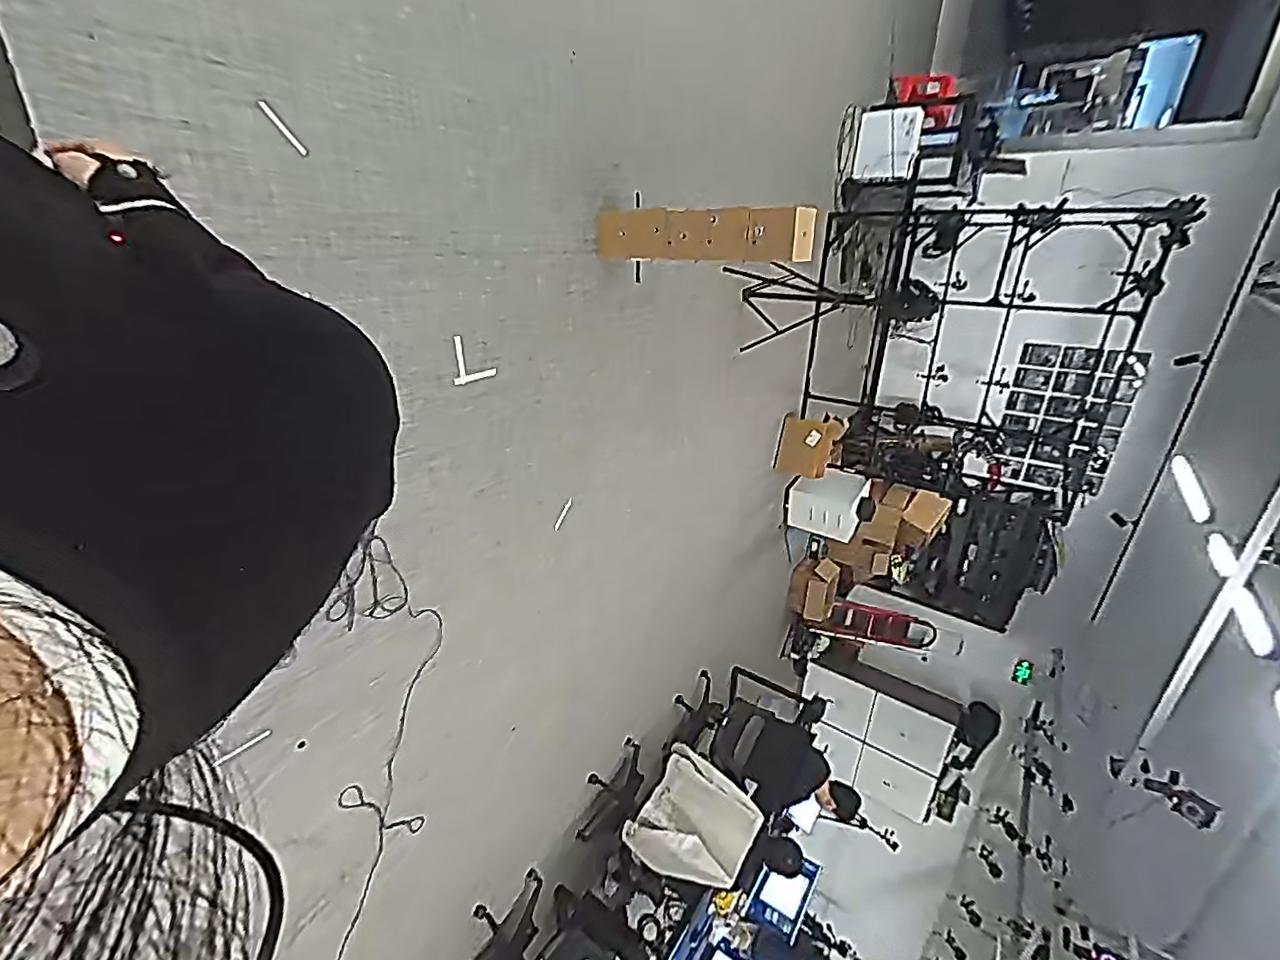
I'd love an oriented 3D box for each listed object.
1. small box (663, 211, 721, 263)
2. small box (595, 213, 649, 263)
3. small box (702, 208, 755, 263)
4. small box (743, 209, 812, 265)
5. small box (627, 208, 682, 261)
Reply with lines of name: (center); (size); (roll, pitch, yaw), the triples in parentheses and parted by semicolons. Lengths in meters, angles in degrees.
small box: (0.196, -0.896, 2.002); (0.179, 0.176, 0.168); (-26, 124, -48)
small box: (-0.070, -0.975, 2.176); (0.168, 0.176, 0.179); (-29, 126, -48)
small box: (0.331, -0.860, 1.914); (0.179, 0.176, 0.168); (-28, 126, -49)
small box: (0.463, -0.820, 1.829); (0.179, 0.176, 0.168); (-29, 126, -47)
small box: (0.062, -0.941, 2.083); (0.168, 0.176, 0.179); (-25, 124, -49)
